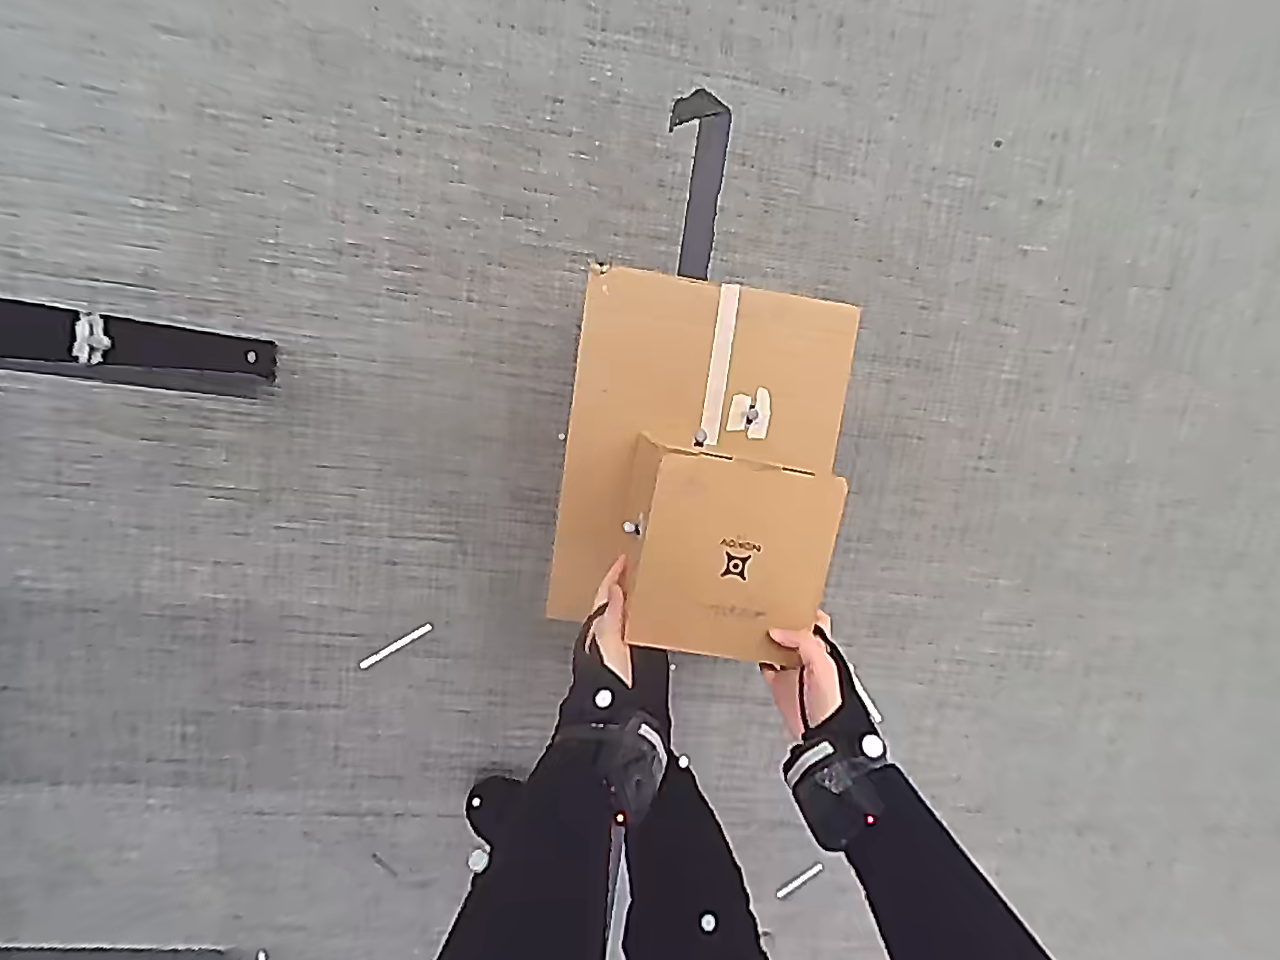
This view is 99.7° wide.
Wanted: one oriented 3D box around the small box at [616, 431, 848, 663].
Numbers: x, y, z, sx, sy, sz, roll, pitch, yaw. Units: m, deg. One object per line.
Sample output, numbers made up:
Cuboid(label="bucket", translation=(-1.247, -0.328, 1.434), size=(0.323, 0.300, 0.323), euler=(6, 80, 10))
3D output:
Cuboid(label="small box", translation=(0.073, 0.052, 0.537), size=(0.168, 0.176, 0.179), euler=(11, 97, -7))

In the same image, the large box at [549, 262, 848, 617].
Cuboid(label="large box", translation=(0.053, -0.043, 0.770), size=(0.320, 0.320, 0.408), euler=(7, 97, -7))
